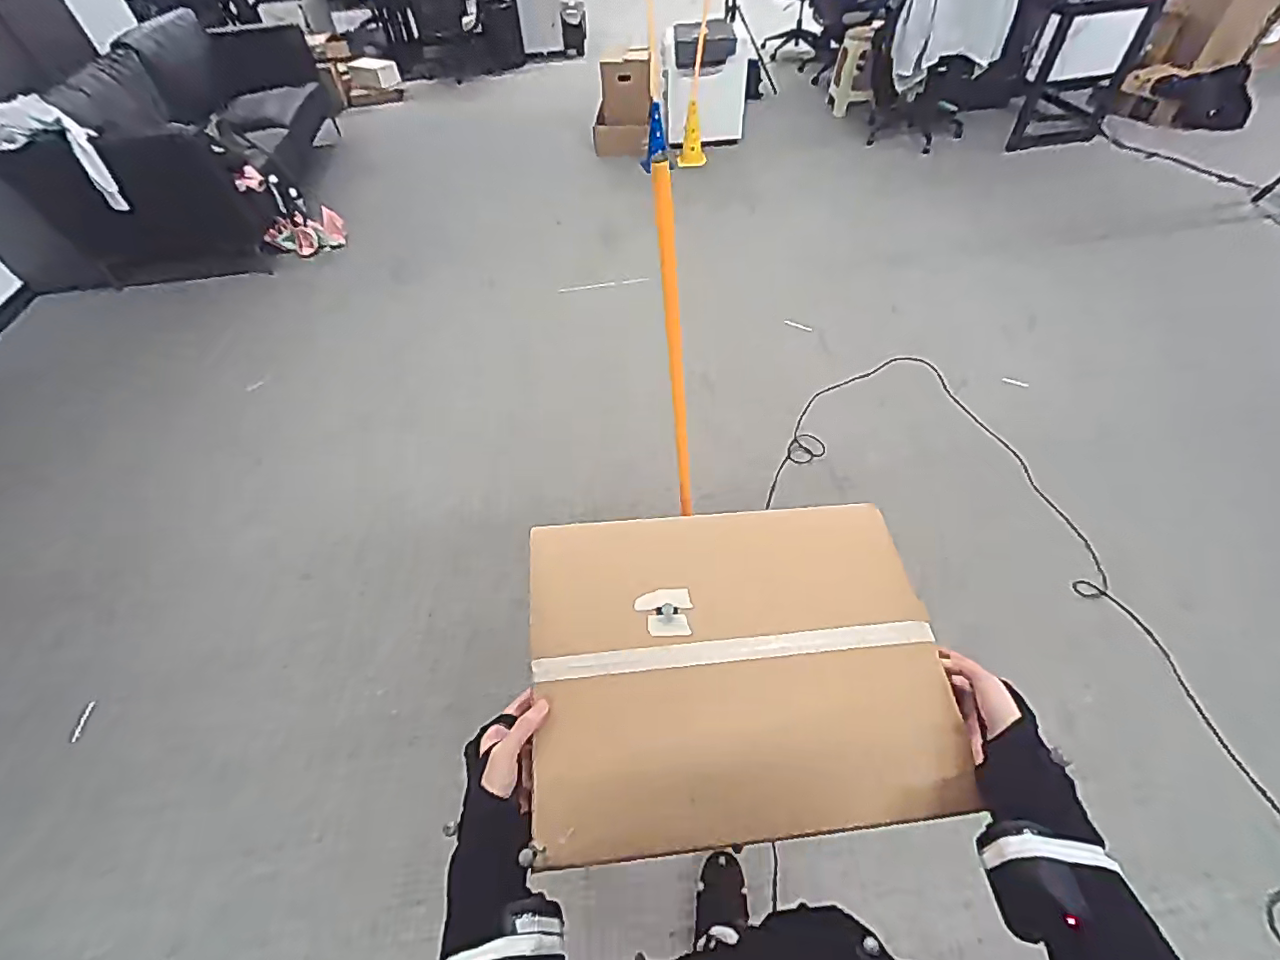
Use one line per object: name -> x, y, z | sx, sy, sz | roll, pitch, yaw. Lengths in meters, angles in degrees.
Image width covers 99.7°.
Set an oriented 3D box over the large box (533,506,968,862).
large box -> 0.088, 0.252, 0.681 | 0.408, 0.320, 0.320 | -4, 59, -5
